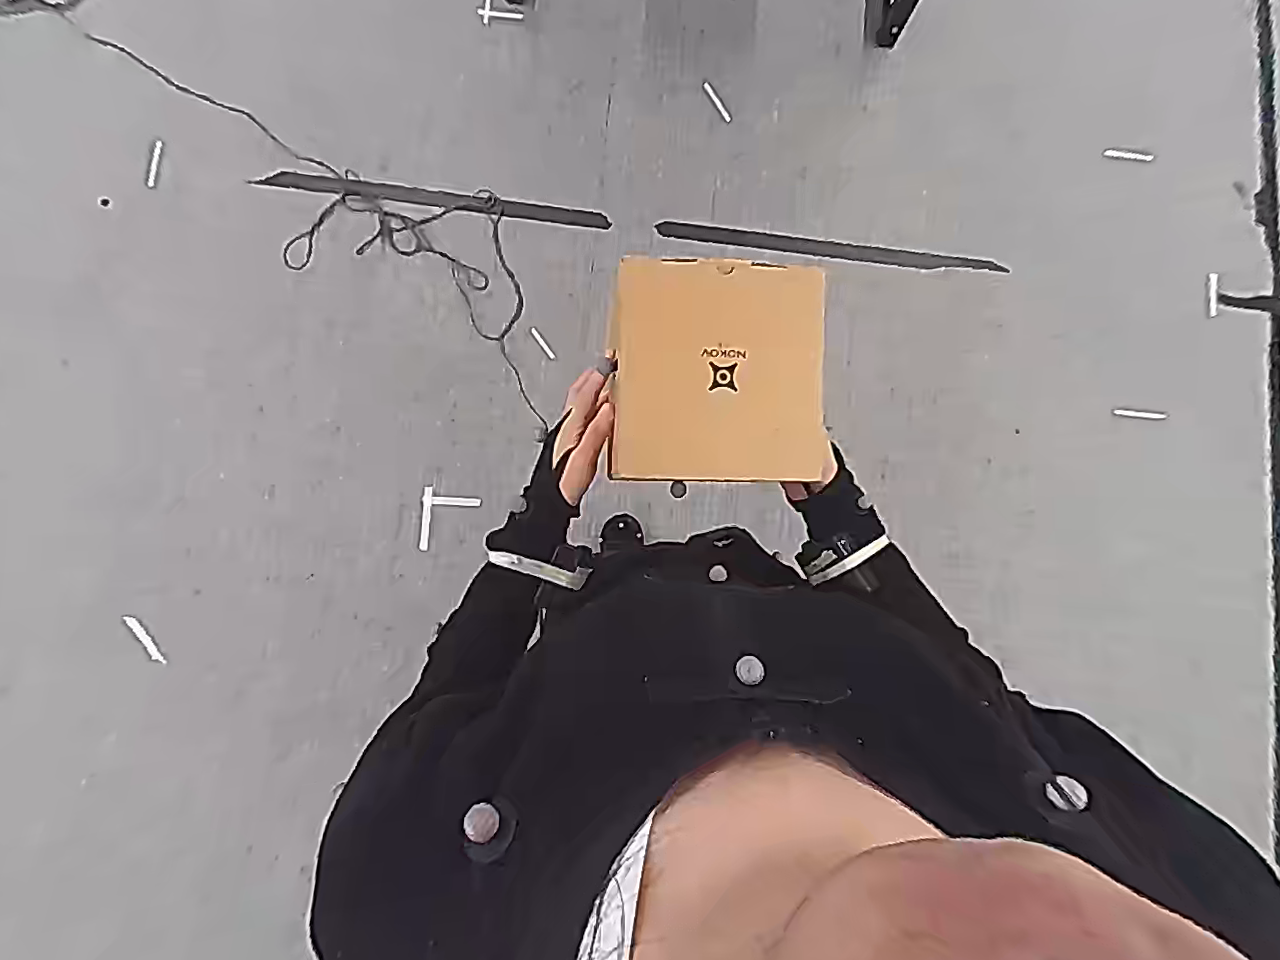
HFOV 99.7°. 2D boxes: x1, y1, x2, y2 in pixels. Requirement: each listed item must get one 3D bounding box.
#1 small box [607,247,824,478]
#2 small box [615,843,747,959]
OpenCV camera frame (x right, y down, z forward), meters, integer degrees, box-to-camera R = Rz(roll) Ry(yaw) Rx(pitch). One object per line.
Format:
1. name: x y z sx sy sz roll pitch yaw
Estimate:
1. small box: 0.057 -0.091 0.502 0.168 0.176 0.179 1 89 -6
2. small box: 0.050 0.669 0.780 0.168 0.176 0.179 5 85 -2
